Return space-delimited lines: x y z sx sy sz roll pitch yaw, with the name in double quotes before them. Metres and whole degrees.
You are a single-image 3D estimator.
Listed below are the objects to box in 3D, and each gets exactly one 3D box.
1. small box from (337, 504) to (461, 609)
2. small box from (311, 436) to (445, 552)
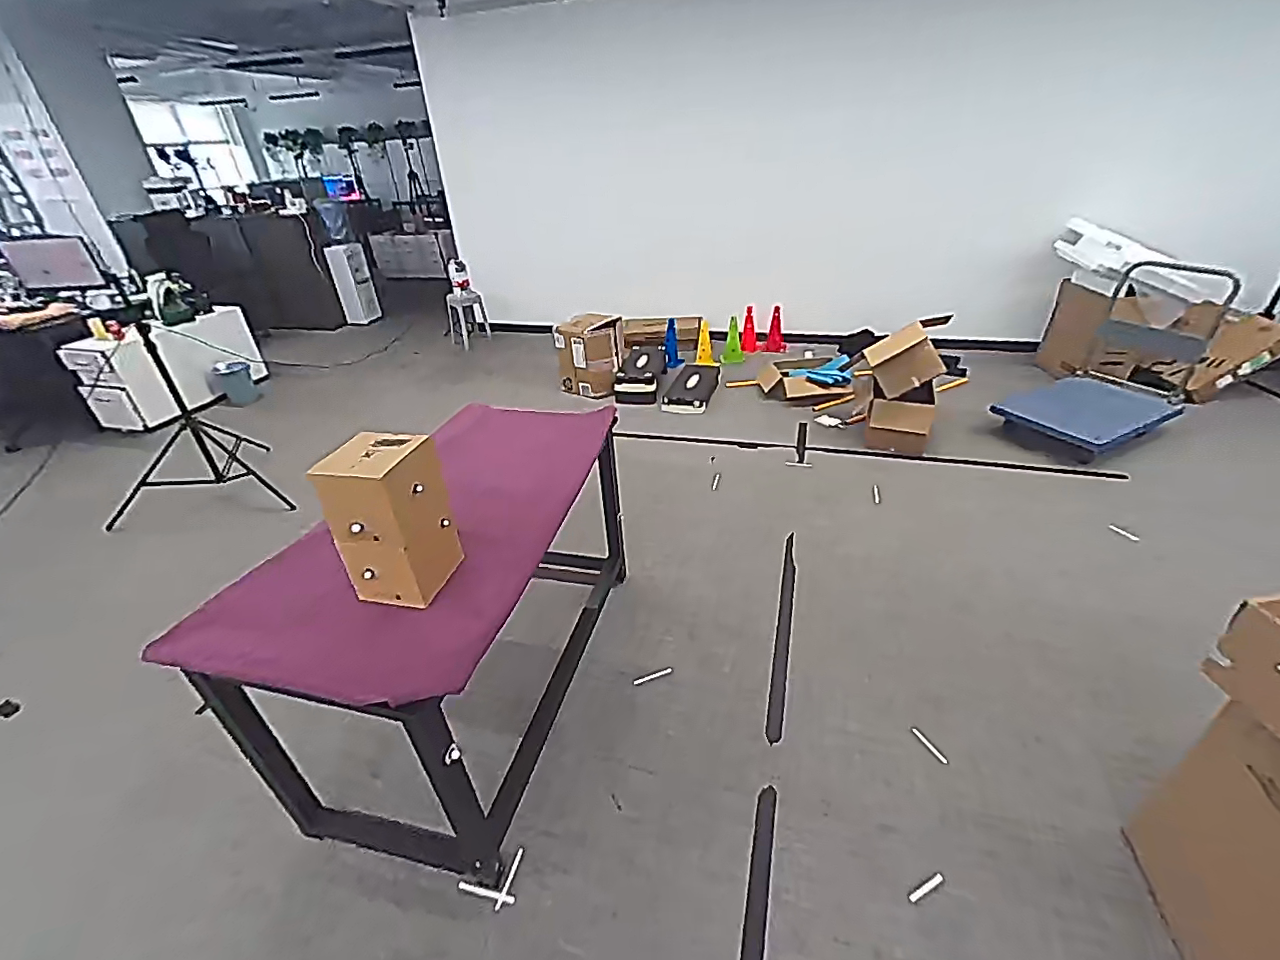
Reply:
"small box" -0.521 0.165 1.200 0.168 0.176 0.179 4 32 12
"small box" -0.524 0.024 1.115 0.168 0.176 0.179 3 32 12
